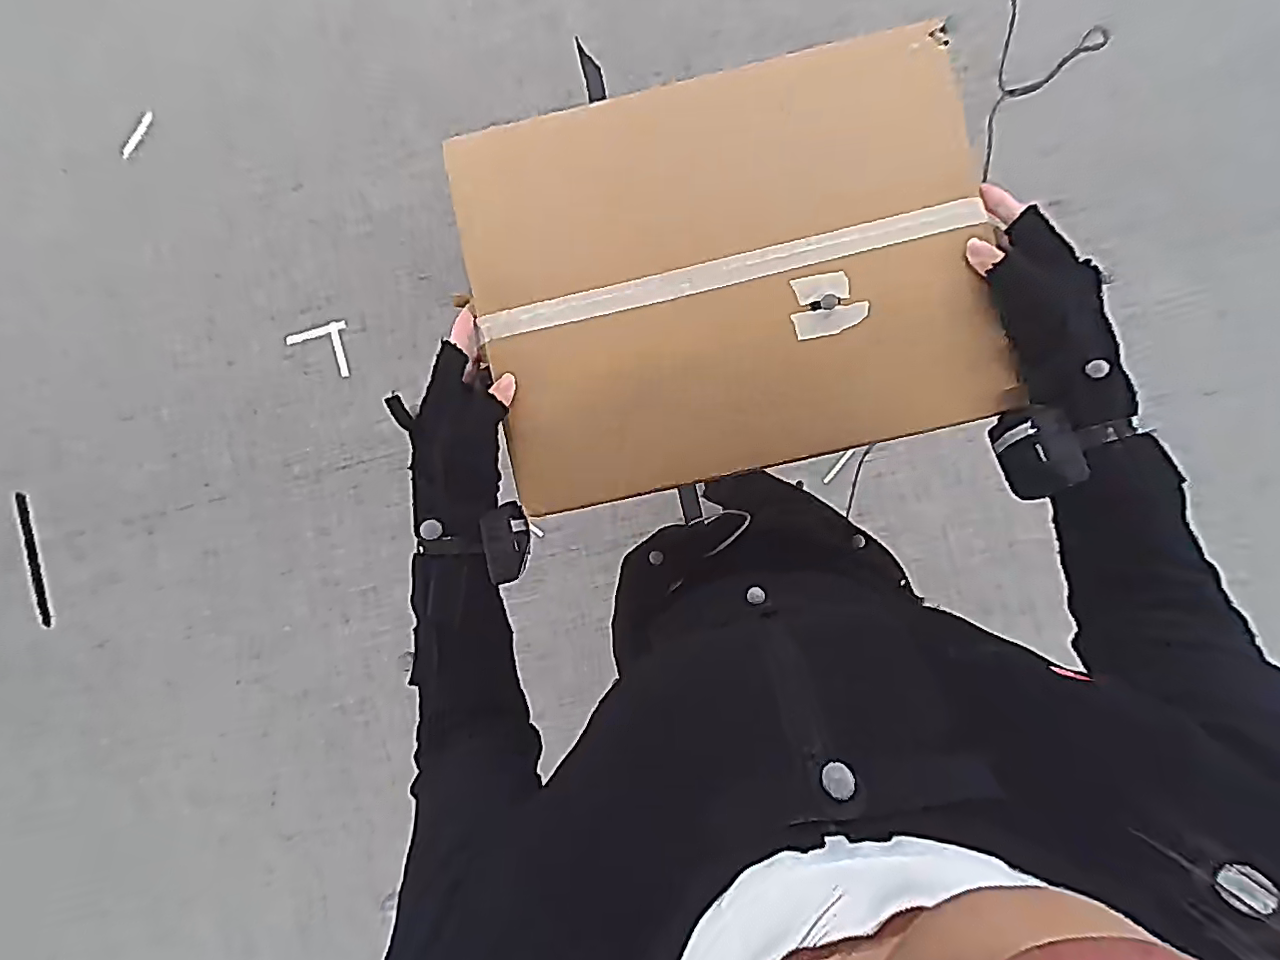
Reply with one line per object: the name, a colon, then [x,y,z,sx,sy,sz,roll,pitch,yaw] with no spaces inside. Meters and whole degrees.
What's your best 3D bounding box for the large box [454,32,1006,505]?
large box: [0.072,-0.170,0.591,0.408,0.320,0.320,-13,90,1]
